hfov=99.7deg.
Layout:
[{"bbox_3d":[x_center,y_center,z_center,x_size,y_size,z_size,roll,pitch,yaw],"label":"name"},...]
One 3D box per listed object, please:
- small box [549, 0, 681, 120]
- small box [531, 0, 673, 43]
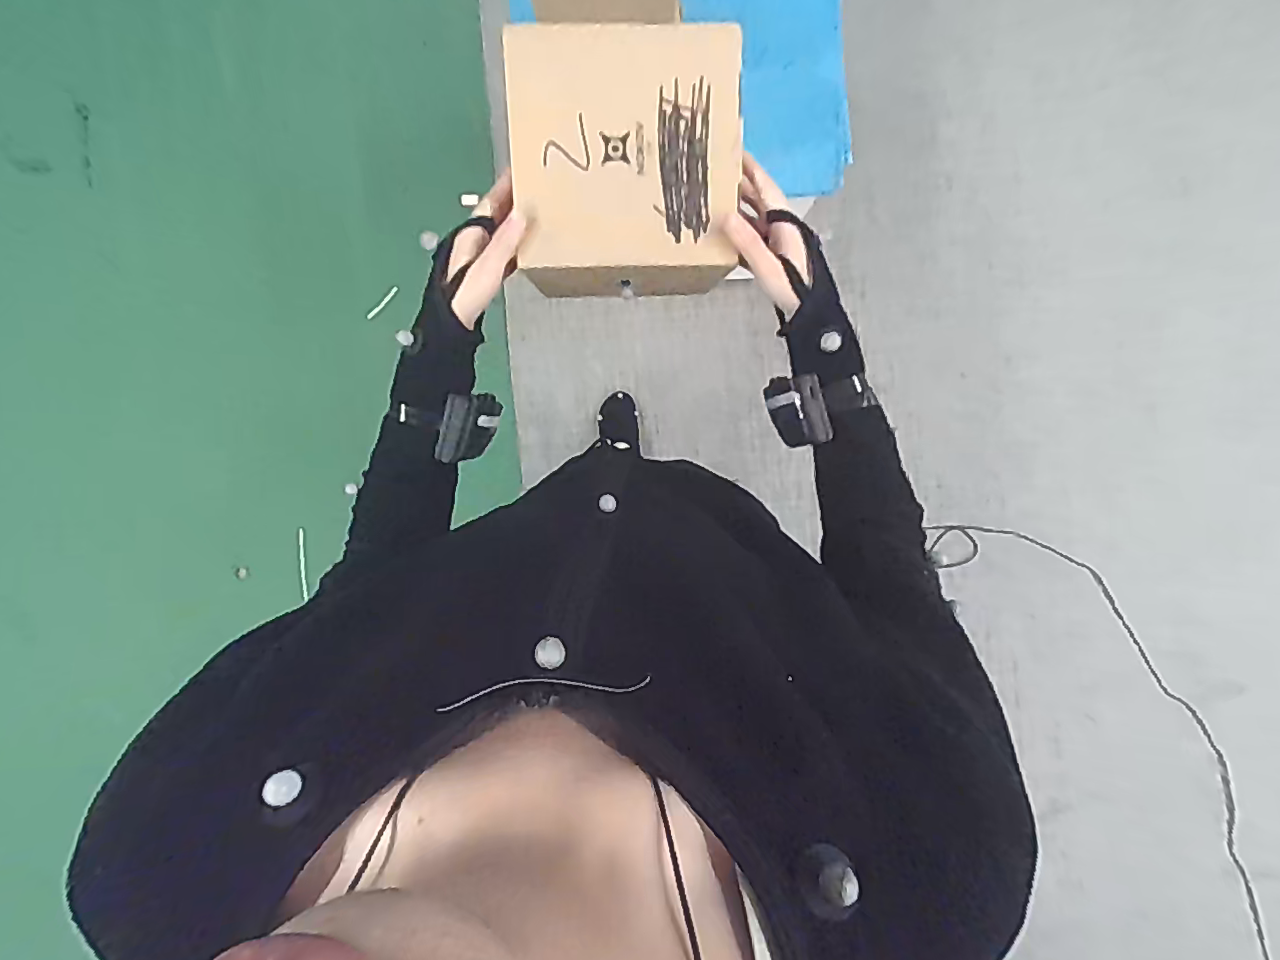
[{"bbox_3d":[-0.037,-0.660,0.787,0.179,0.176,0.168,-4,92,1],"label":"small box"},{"bbox_3d":[-0.048,-0.651,0.622,0.179,0.176,0.168,-4,92,1],"label":"small box"}]
